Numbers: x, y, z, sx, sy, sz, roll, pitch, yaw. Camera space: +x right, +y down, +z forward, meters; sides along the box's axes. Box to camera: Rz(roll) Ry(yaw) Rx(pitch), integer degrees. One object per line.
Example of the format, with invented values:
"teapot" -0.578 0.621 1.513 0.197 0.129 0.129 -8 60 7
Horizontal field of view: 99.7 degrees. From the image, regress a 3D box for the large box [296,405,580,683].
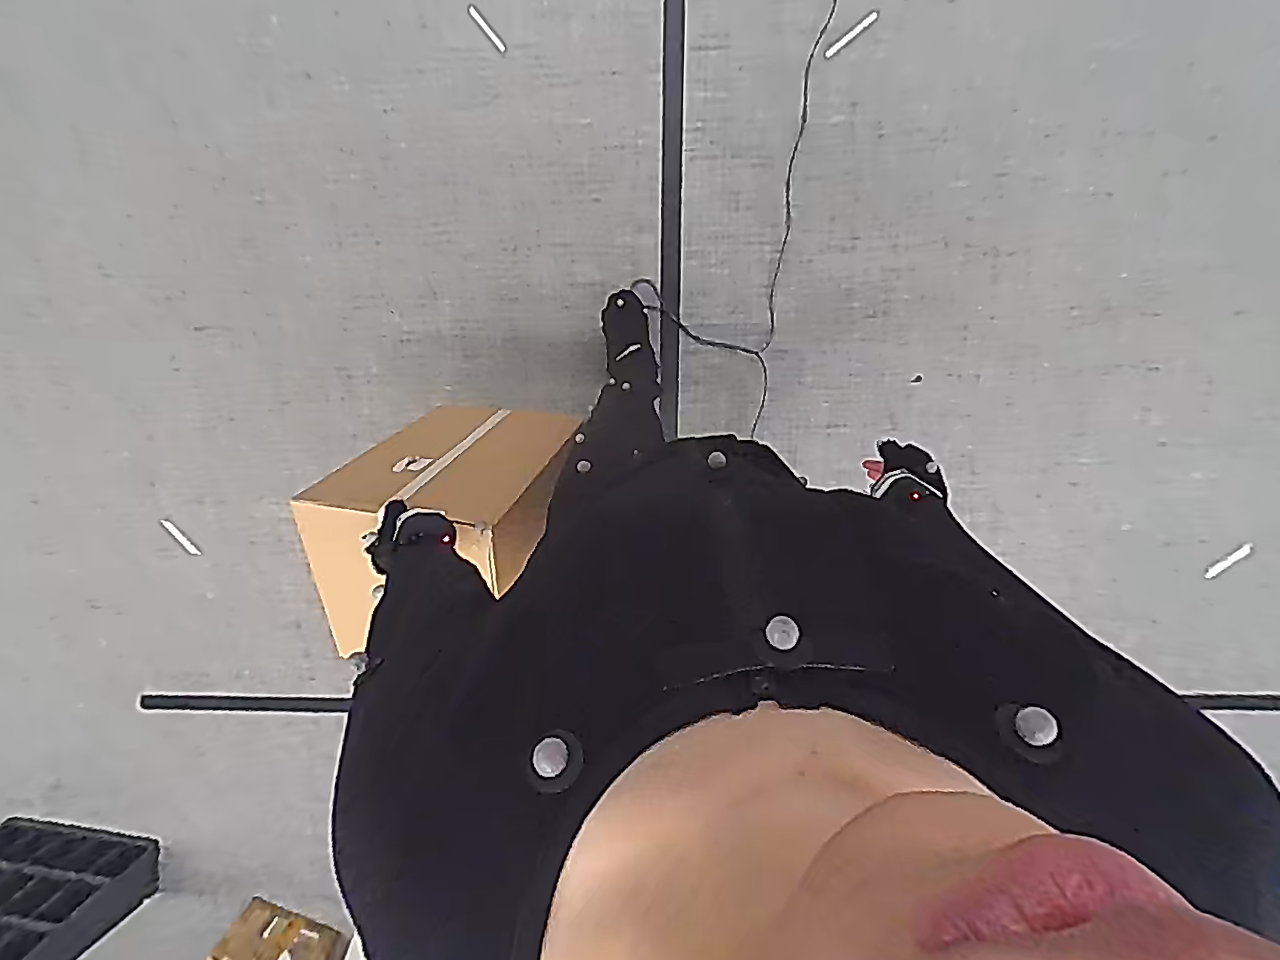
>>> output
"large box" -0.315 0.088 0.993 0.320 0.408 0.320 7 119 11
